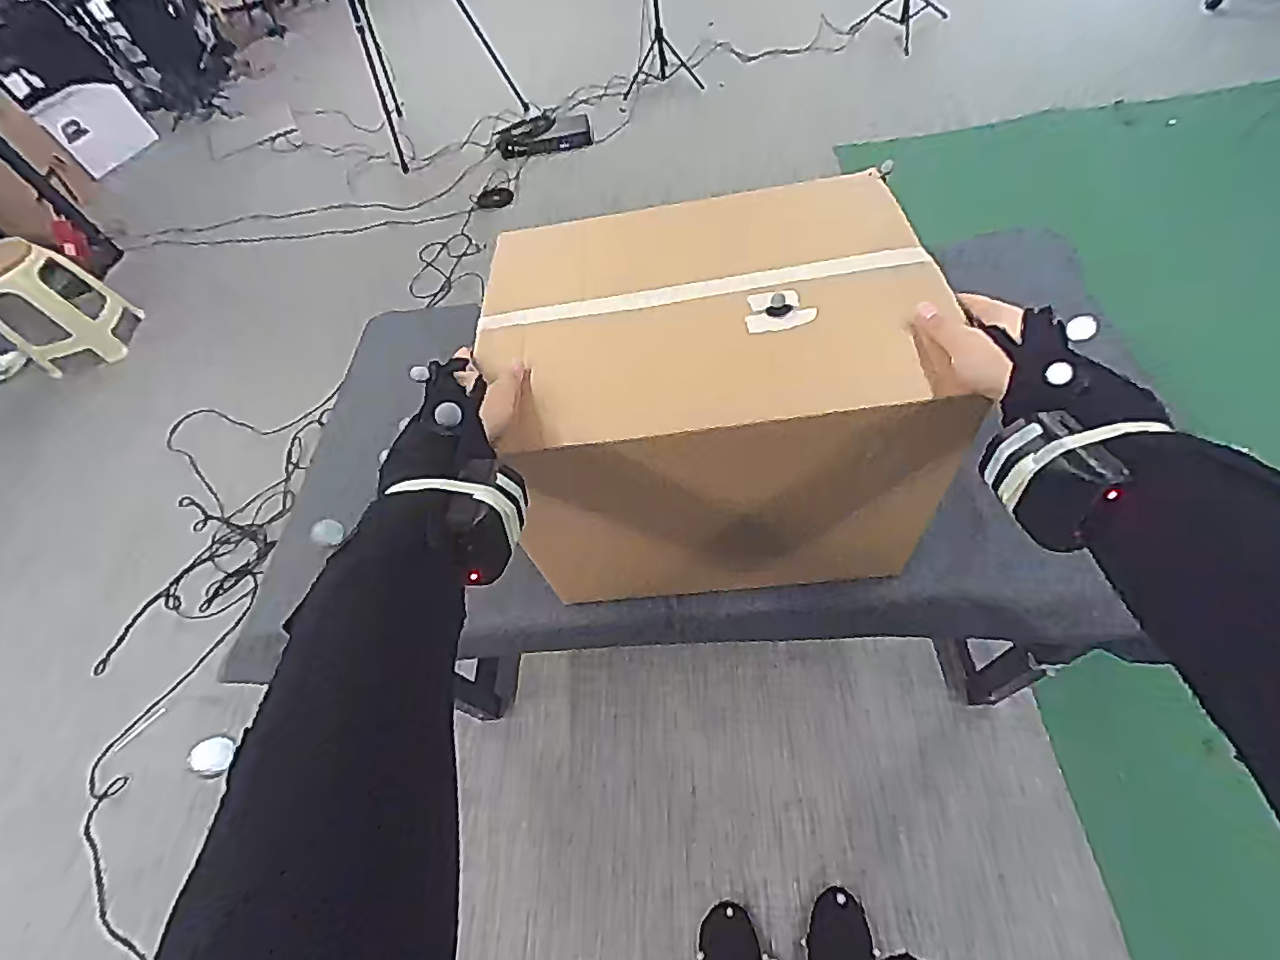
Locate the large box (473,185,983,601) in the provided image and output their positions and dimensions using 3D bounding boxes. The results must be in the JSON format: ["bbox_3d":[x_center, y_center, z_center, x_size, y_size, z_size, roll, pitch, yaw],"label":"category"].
[{"bbox_3d":[0.073,-0.080,0.621,0.408,0.320,0.320,-7,55,5],"label":"large box"}]
